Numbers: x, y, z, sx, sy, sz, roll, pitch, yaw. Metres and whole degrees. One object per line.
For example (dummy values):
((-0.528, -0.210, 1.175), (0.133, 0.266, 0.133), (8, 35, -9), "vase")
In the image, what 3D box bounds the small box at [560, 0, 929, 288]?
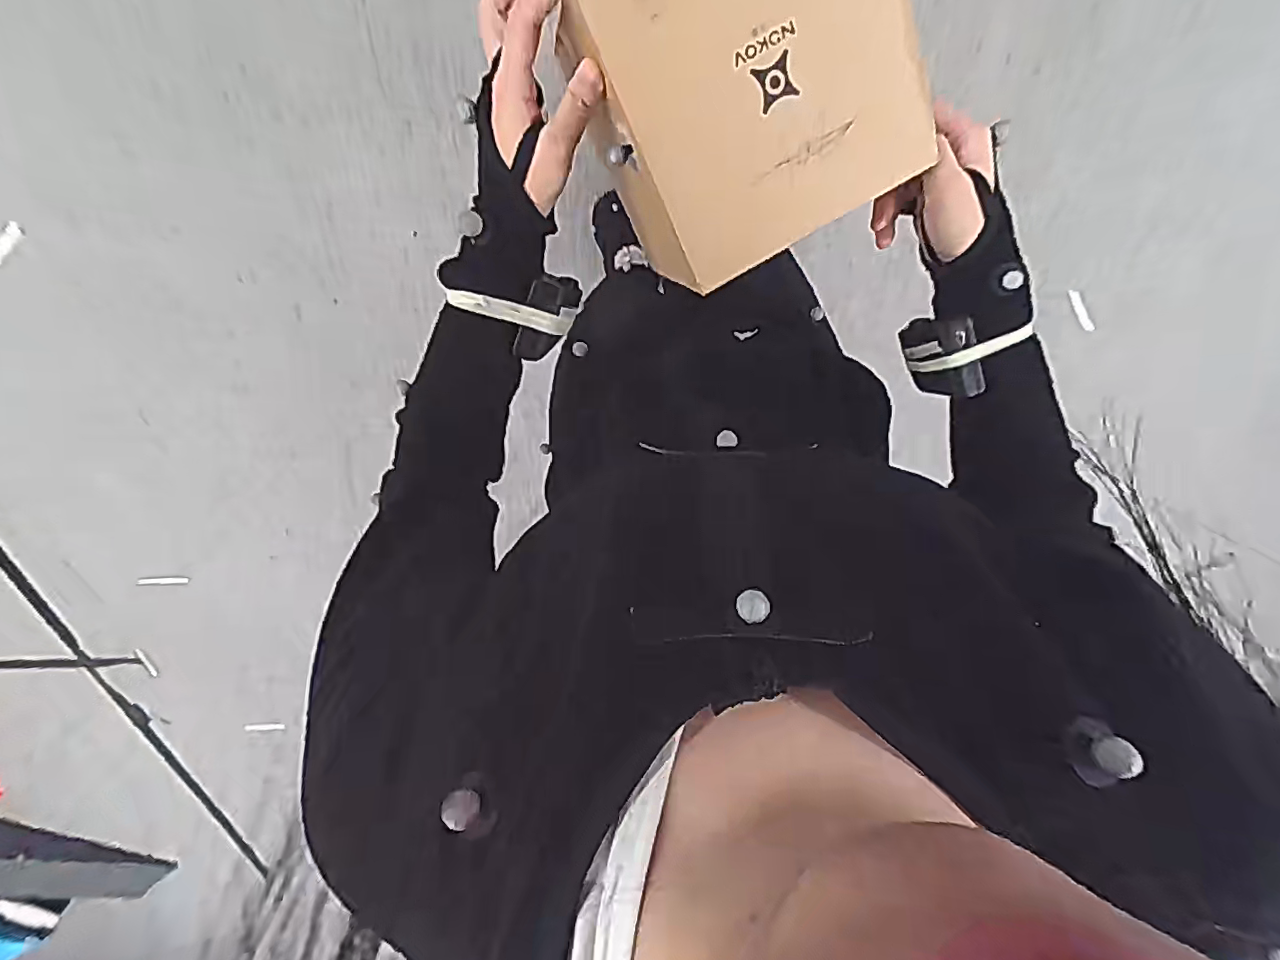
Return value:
((0.056, -0.254, 0.372), (0.168, 0.176, 0.179), (-28, 116, 2), "small box")
